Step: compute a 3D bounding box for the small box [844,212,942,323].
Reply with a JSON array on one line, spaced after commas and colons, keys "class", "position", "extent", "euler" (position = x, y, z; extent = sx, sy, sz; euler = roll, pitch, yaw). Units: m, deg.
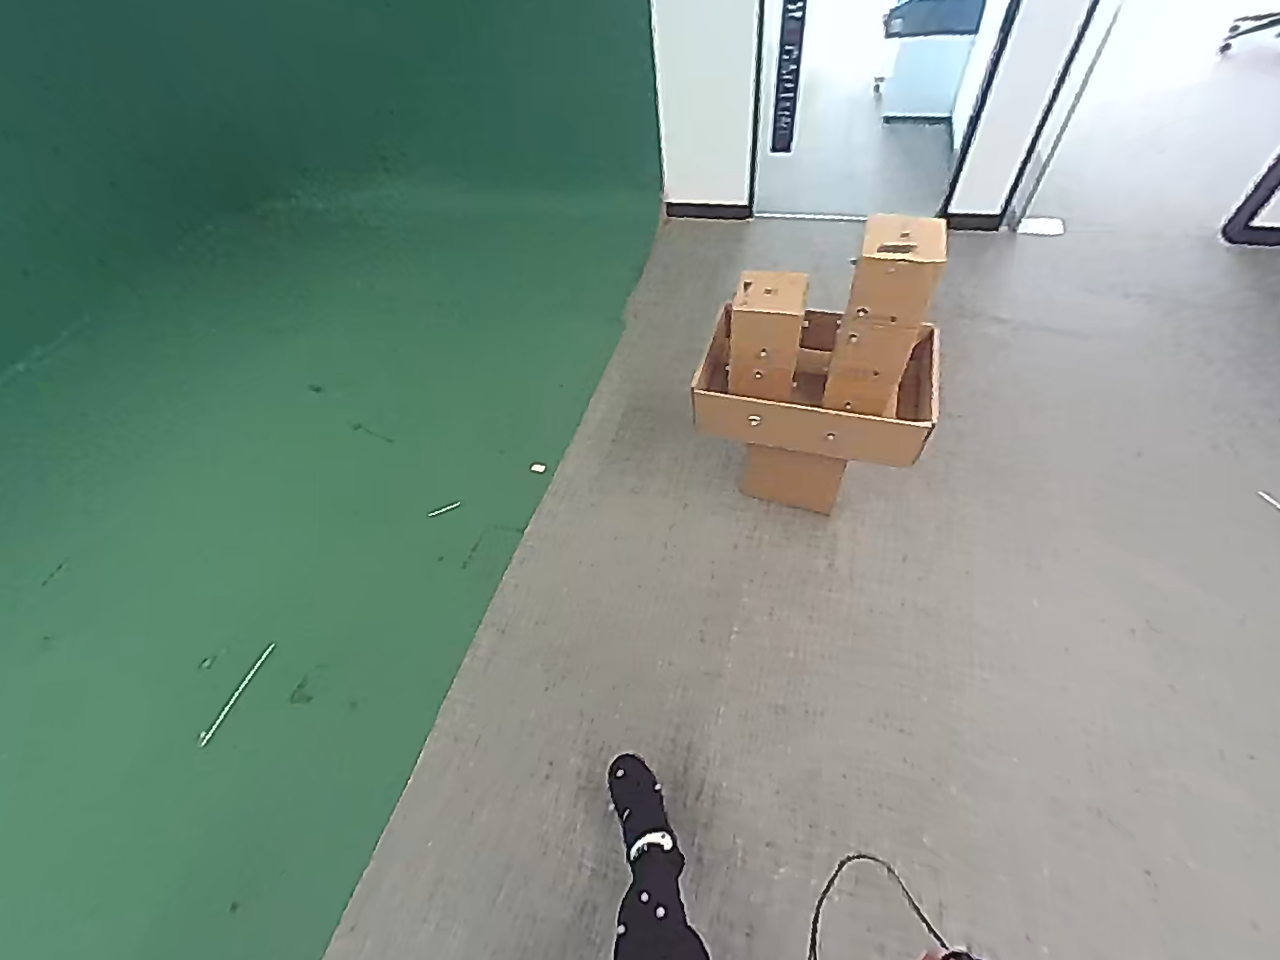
[{"class": "small box", "position": [0.570, -0.480, 1.229], "extent": [0.168, 0.176, 0.179], "euler": [12, 56, 15]}]

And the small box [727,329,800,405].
[{"class": "small box", "position": [0.351, -0.335, 1.560], "extent": [0.179, 0.176, 0.168], "euler": [11, 57, 13]}]

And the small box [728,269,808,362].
[{"class": "small box", "position": [0.335, -0.430, 1.427], "extent": [0.179, 0.176, 0.168], "euler": [9, 56, 13]}]
